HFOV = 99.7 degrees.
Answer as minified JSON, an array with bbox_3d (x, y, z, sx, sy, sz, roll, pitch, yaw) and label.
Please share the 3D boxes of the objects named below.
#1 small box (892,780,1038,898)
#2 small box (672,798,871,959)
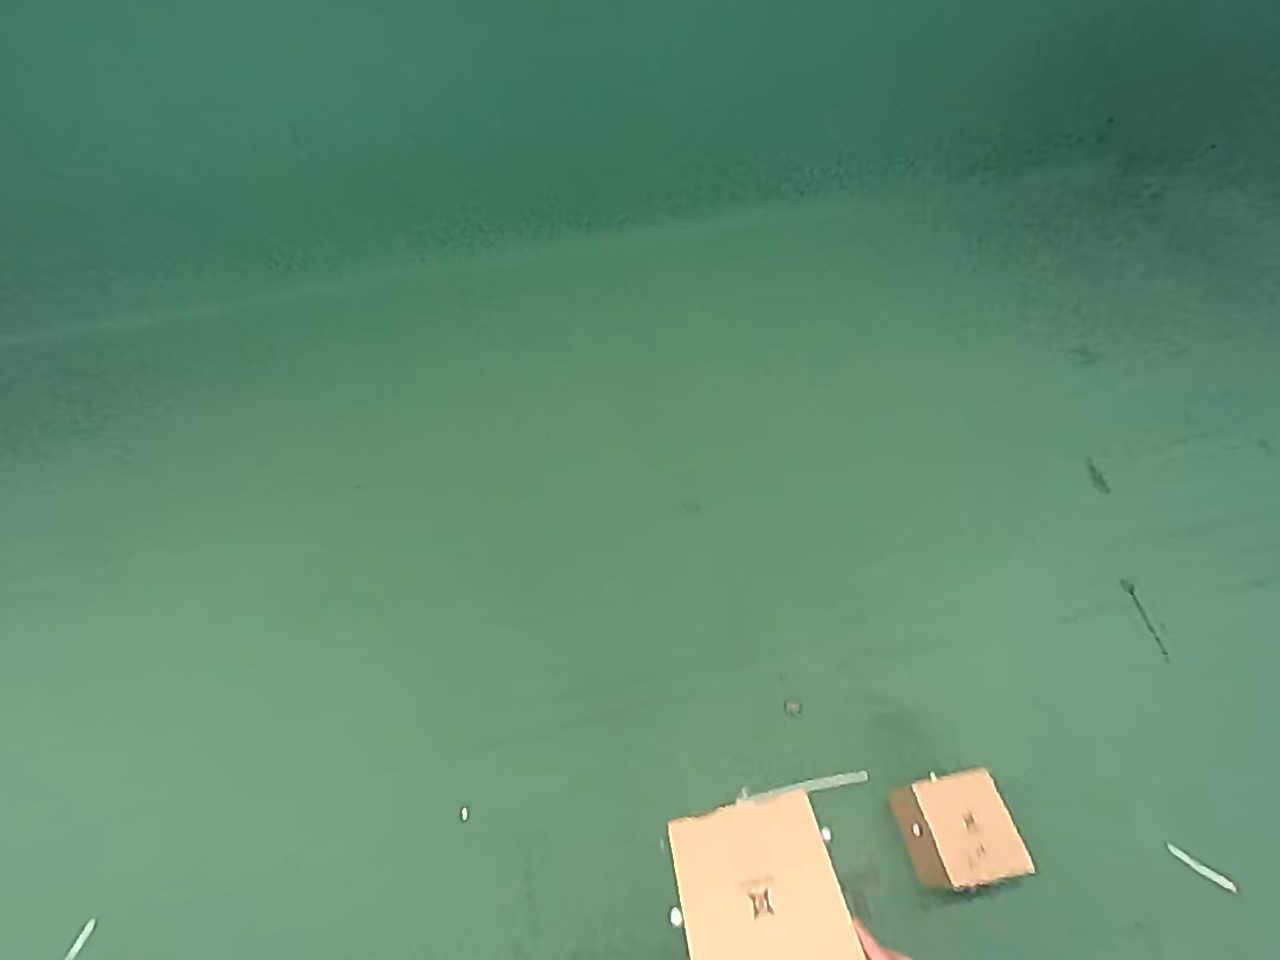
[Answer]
[{"bbox_3d":[0.656,0.746,1.121,0.168,0.176,0.179,-9,53,-4],"label":"small box"},{"bbox_3d":[0.142,0.490,0.590,0.168,0.176,0.179,-14,37,-1],"label":"small box"}]
